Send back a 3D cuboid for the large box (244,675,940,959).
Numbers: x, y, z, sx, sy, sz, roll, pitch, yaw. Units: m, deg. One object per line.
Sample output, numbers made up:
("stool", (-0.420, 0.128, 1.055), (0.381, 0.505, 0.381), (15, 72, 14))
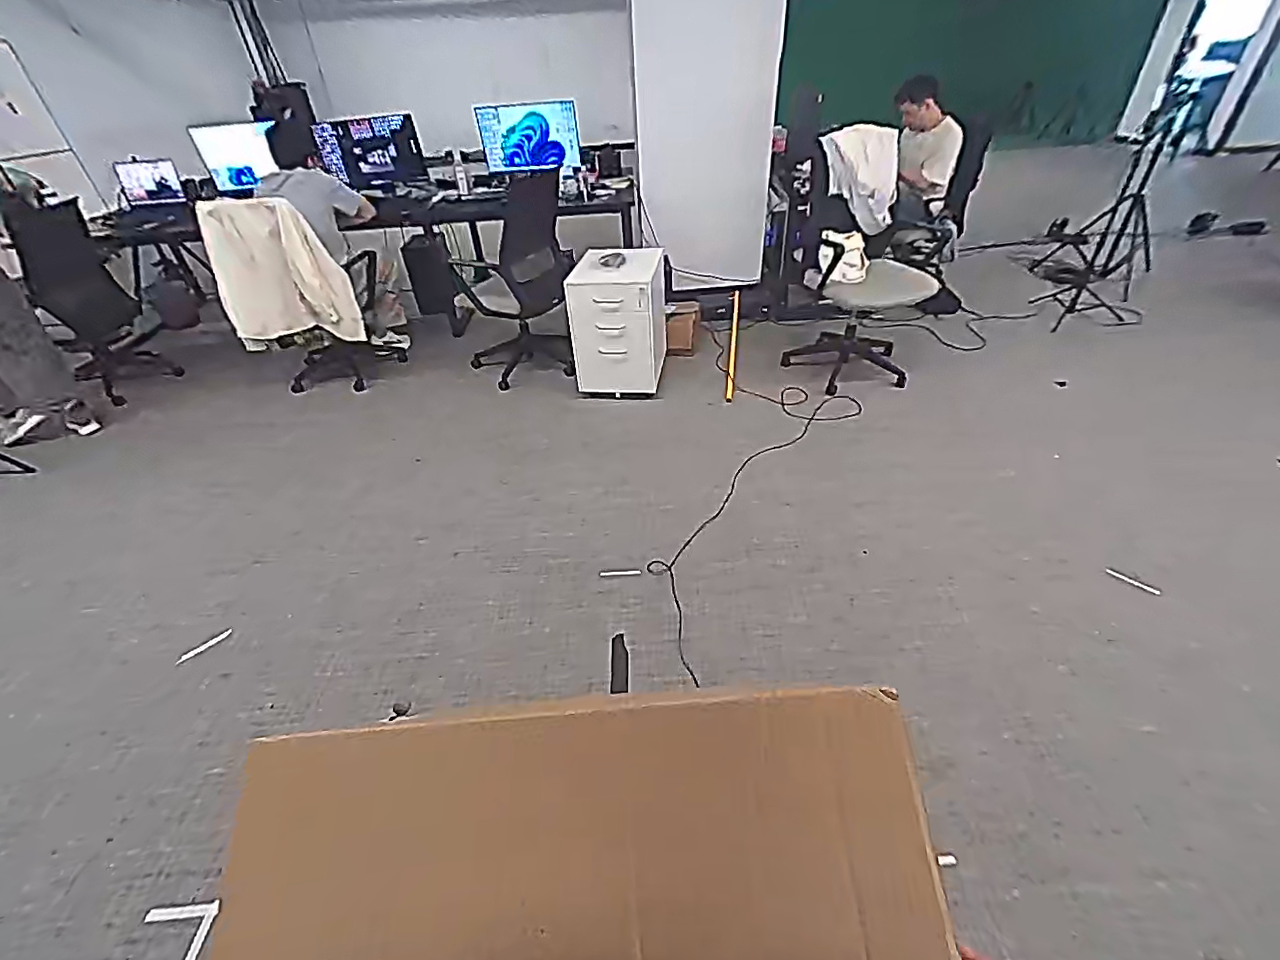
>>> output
("large box", (-0.024, 0.339, 0.438), (0.408, 0.320, 0.320), (-6, 71, 2))
